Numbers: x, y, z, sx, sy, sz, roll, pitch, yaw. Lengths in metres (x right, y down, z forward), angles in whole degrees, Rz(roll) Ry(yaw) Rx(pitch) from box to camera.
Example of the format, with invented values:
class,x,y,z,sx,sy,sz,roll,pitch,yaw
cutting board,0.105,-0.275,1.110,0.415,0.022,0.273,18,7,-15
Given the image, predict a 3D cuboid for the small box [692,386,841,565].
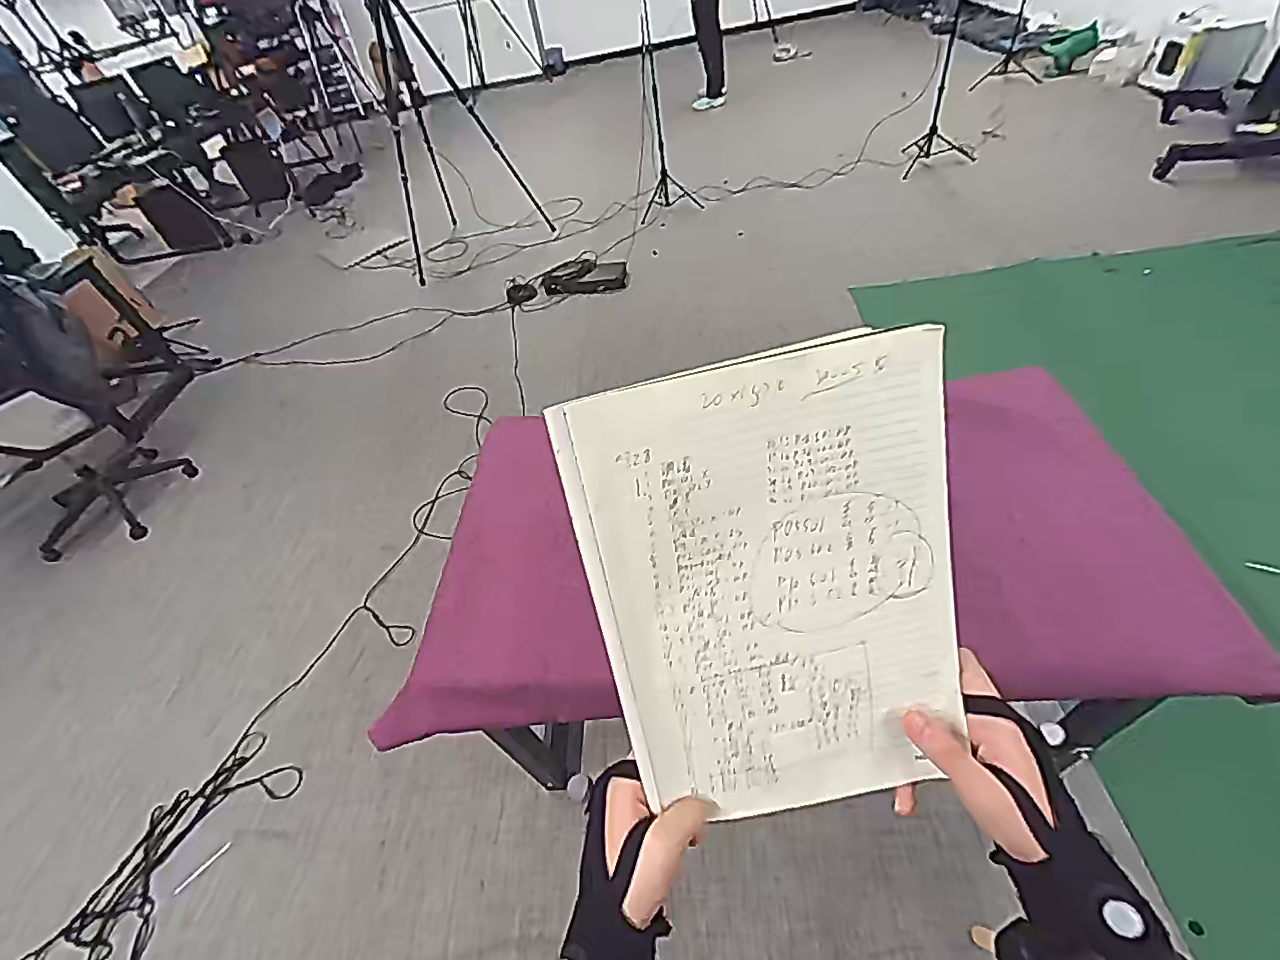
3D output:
class,x,y,z,sx,sy,sz,roll,pitch,yaw
small box,0.160,0.001,0.720,0.168,0.176,0.179,-5,45,8
